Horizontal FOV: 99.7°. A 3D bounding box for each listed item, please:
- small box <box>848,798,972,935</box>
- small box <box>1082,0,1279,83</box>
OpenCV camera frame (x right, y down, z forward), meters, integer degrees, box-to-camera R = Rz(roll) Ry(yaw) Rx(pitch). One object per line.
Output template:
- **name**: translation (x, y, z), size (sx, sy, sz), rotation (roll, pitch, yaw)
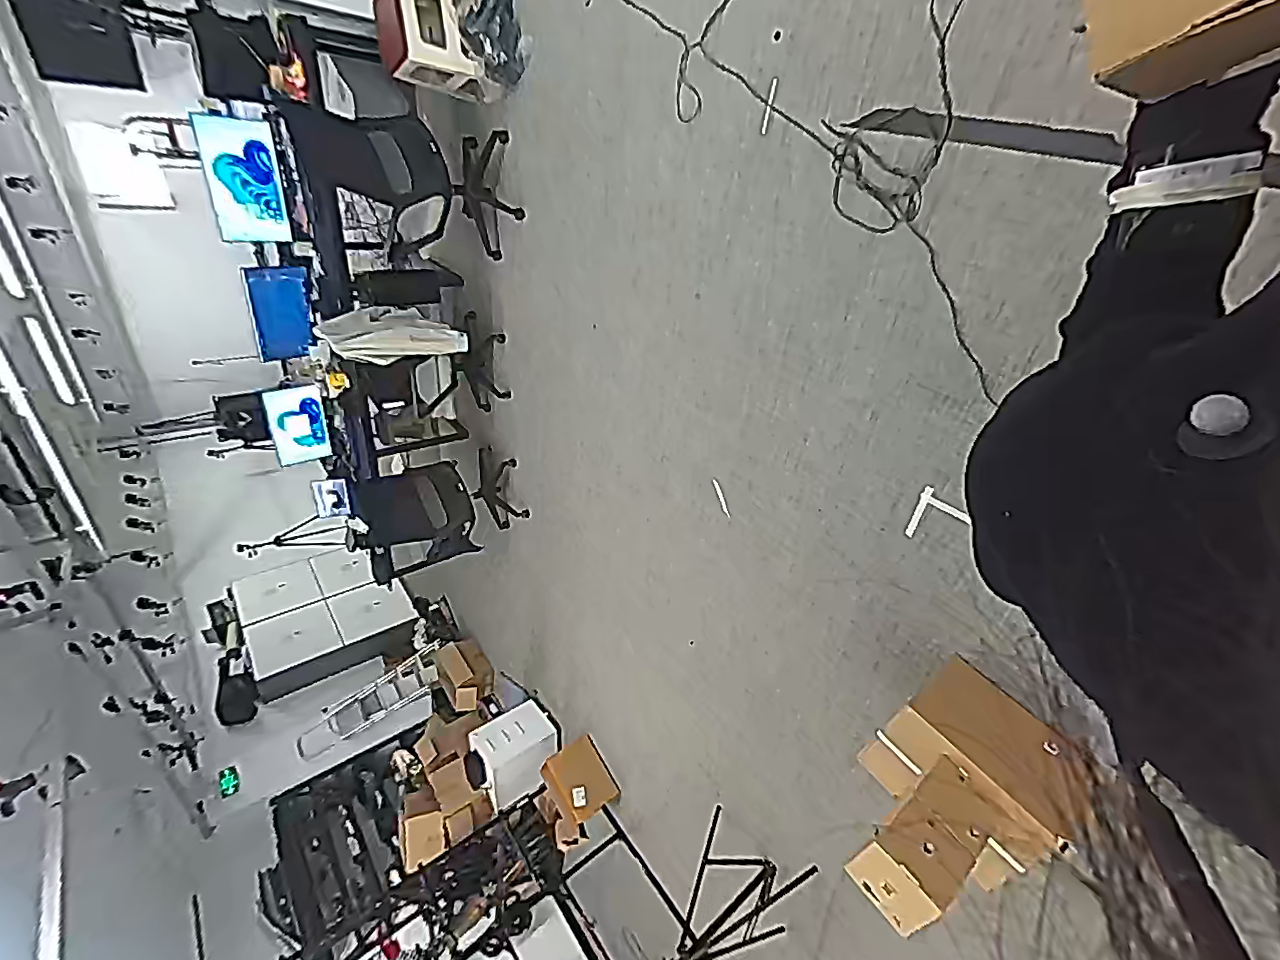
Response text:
- **small box**: translation (0.620, 0.871, 1.233), size (0.168, 0.176, 0.179), rotation (43, 135, 34)
- **small box**: translation (0.284, -0.291, 0.210), size (0.168, 0.176, 0.179), rotation (-6, 106, 50)
